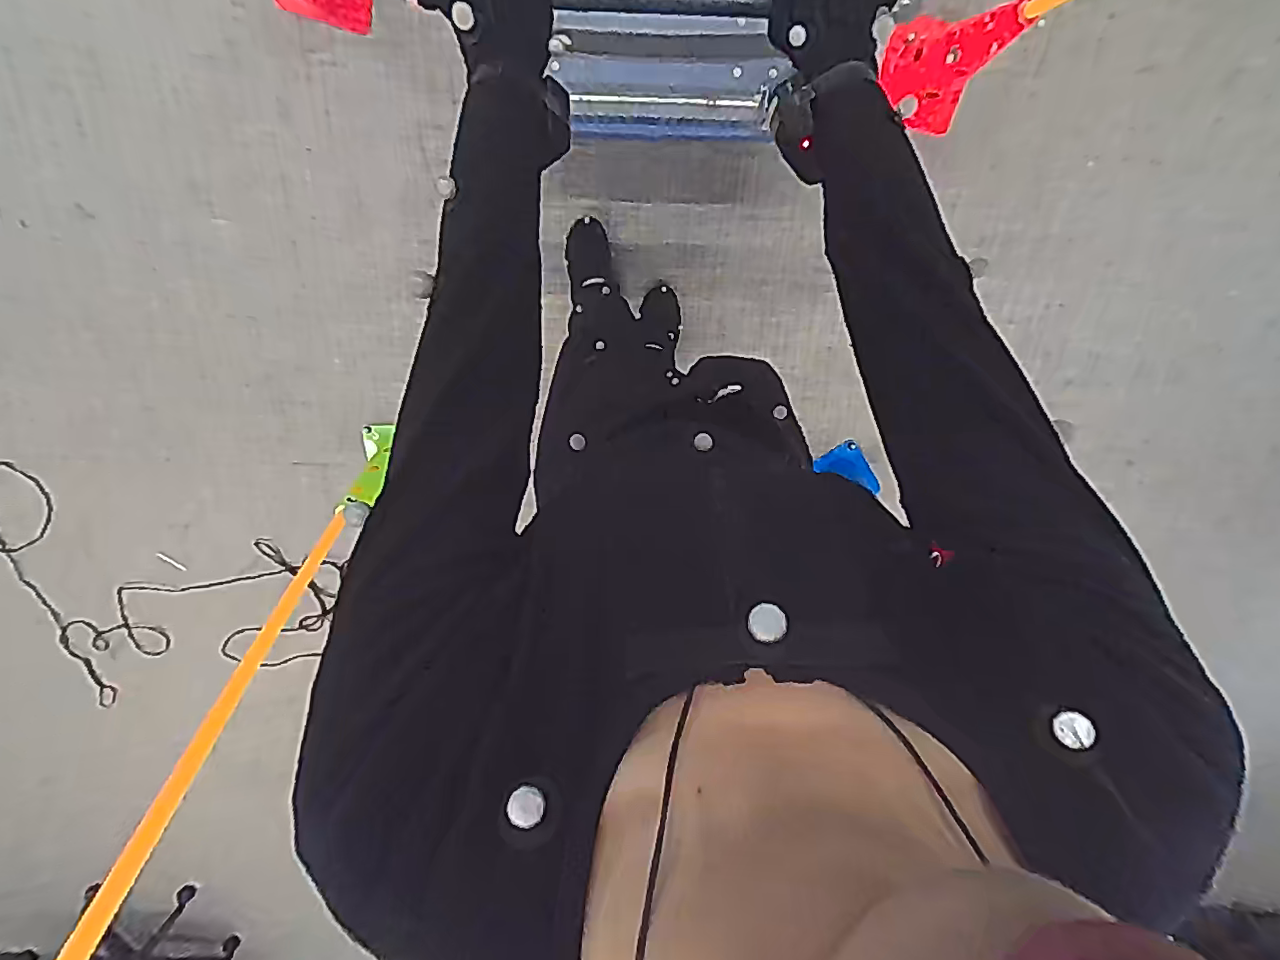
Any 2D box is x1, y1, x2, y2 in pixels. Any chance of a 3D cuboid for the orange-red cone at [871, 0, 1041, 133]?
[{"bbox_3d":[0.630,-0.832,1.034,0.198,0.360,0.199,12,112,-5],"label":"orange-red cone"}]
